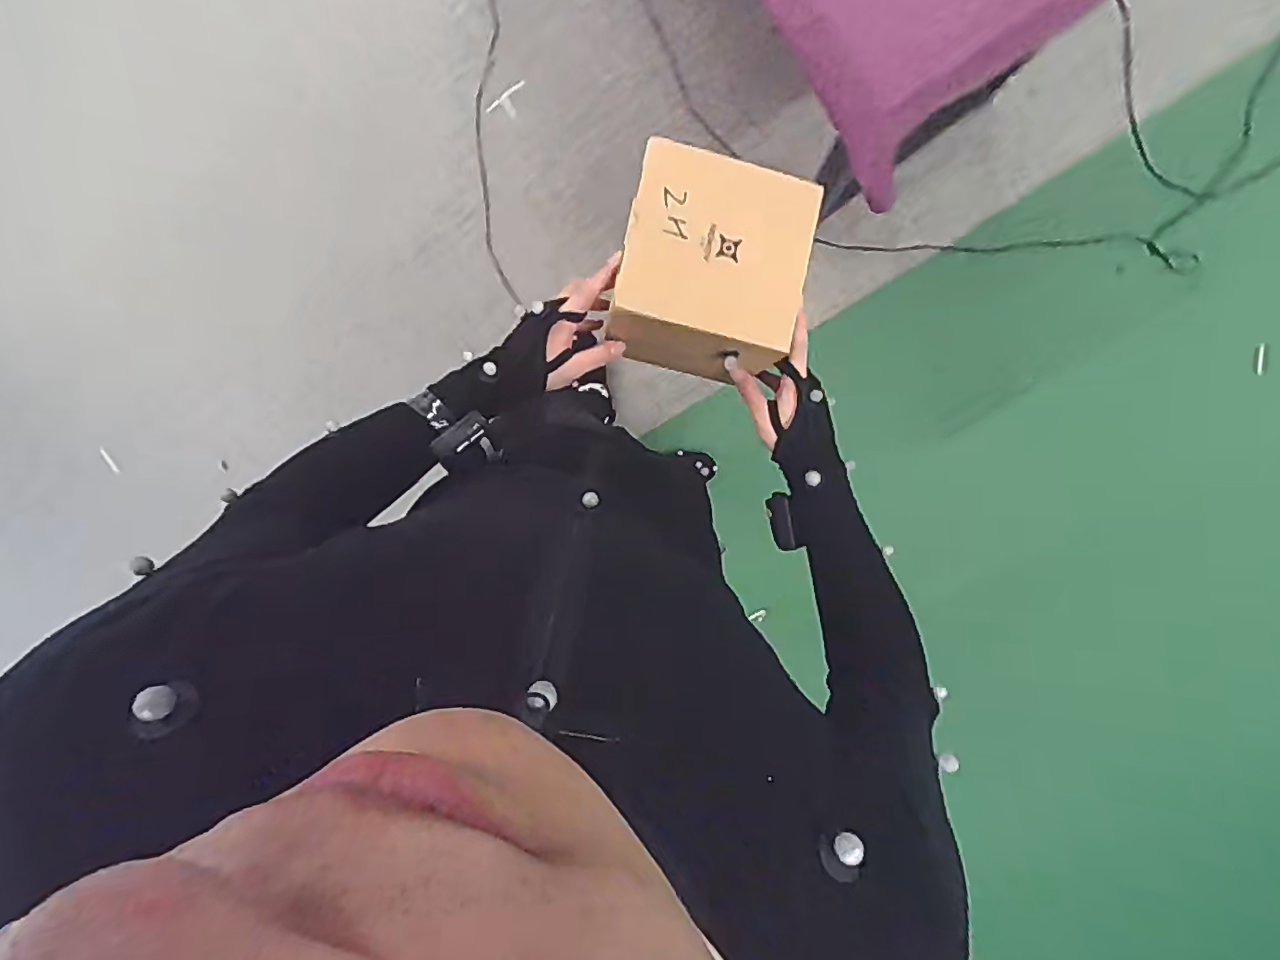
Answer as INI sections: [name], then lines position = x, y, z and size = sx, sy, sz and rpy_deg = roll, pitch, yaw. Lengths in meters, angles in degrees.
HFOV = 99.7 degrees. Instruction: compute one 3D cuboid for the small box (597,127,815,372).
[small box]
position = 0.057, -0.223, 0.577
size = 0.179, 0.176, 0.168
rpy_deg = 12, 87, -5
